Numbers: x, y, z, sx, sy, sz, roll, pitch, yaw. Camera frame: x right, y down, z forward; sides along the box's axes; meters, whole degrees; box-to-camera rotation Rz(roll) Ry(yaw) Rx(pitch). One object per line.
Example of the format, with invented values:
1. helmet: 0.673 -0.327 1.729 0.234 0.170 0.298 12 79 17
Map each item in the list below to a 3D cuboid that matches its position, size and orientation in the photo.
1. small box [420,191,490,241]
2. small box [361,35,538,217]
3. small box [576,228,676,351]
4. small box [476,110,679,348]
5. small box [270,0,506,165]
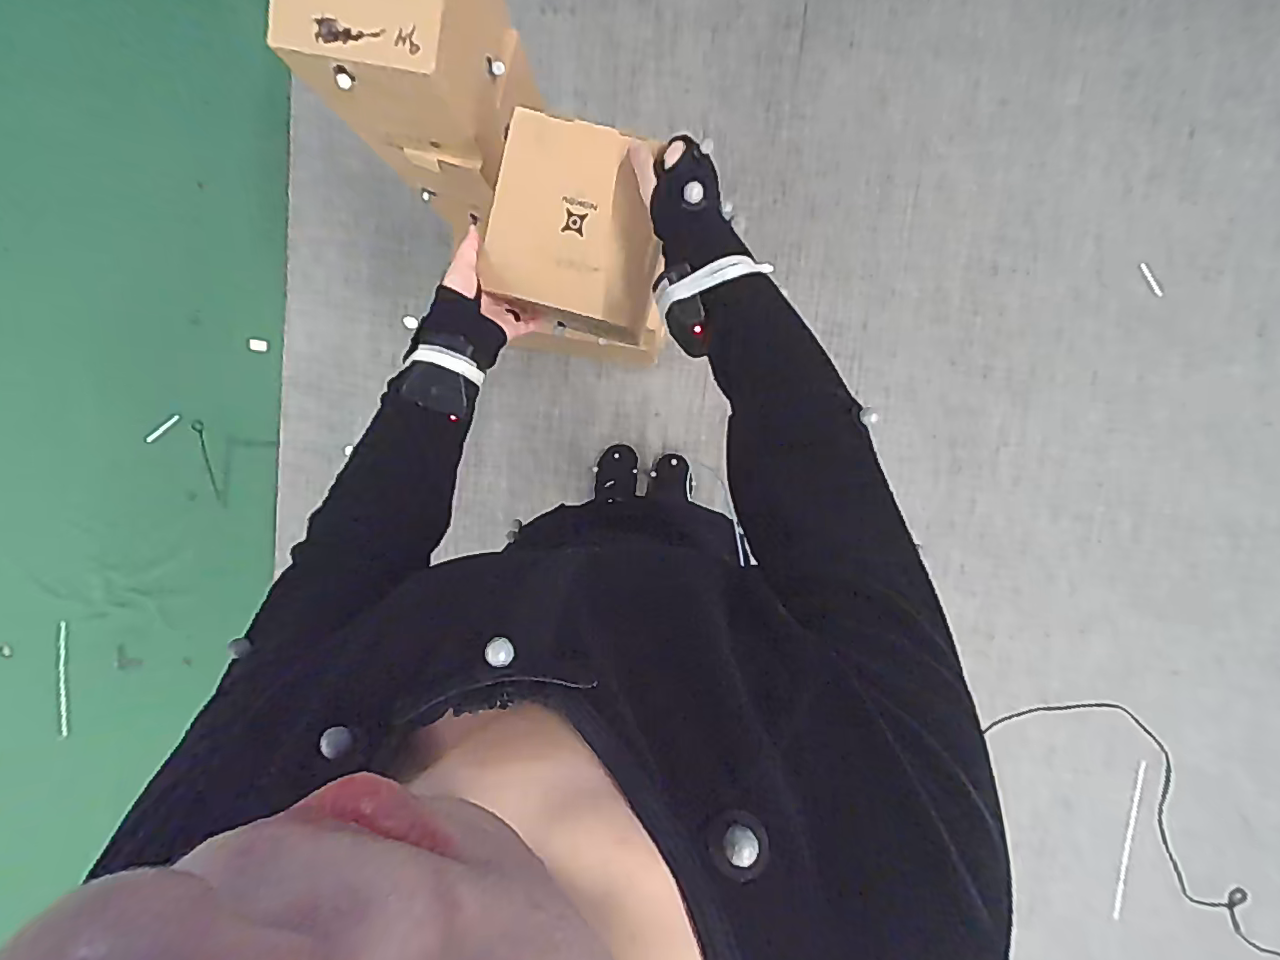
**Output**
1. small box: -0.239 -0.506 0.920 0.179 0.176 0.168 16 96 -1
2. small box: -0.248 -0.494 0.756 0.168 0.176 0.179 18 94 0
3. small box: -0.031 -0.326 0.929 0.168 0.176 0.179 8 96 1
4. small box: -0.061 -0.261 0.607 0.168 0.176 0.179 16 97 1
5. small box: -0.257 -0.487 0.592 0.168 0.176 0.179 11 94 1
